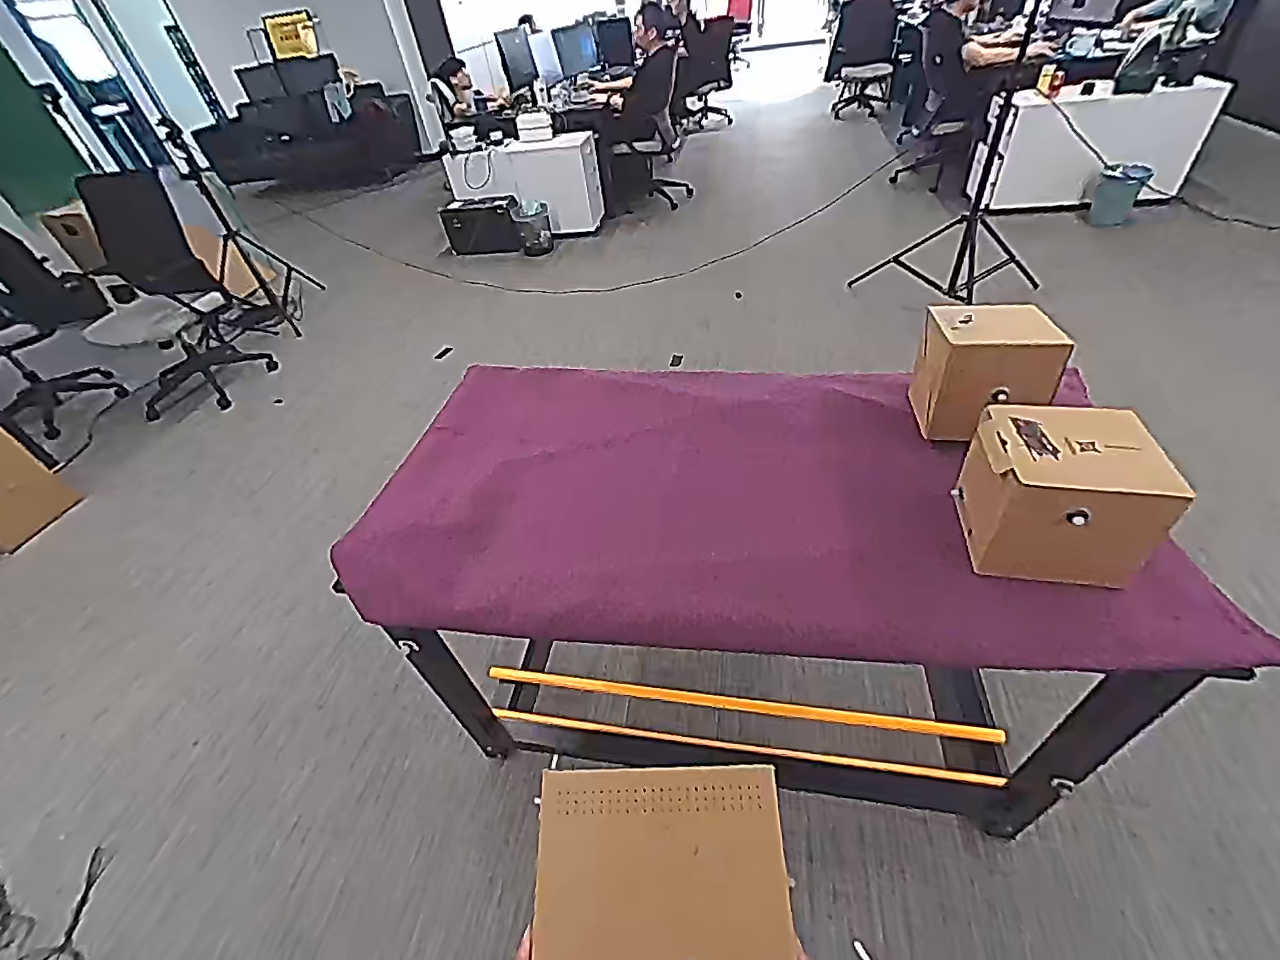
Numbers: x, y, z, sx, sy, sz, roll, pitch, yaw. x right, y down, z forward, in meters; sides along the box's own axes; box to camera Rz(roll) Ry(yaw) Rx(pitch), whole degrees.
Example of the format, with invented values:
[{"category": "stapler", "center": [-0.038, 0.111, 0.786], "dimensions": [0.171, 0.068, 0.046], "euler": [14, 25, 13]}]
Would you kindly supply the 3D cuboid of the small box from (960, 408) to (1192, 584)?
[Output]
[{"category": "small box", "center": [0.547, 0.021, 0.718], "dimensions": [0.179, 0.176, 0.168], "euler": [4, 43, 13]}]
